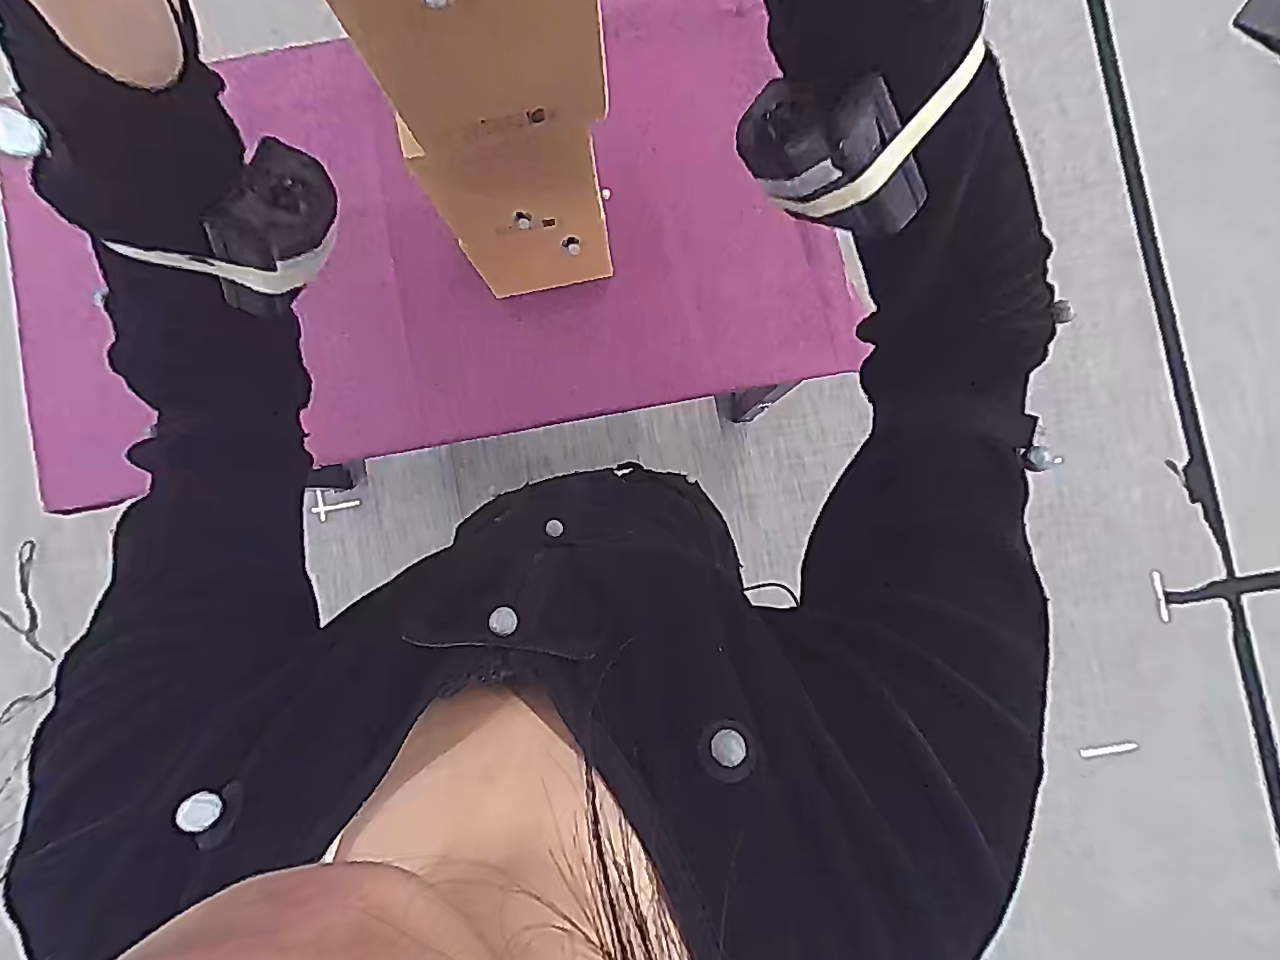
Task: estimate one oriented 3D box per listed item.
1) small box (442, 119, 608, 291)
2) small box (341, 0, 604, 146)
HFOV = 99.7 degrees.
[{"bbox_3d":[-0.140,-0.370,0.712,0.179,0.176,0.168,-11,87,1],"label":"small box"},{"bbox_3d":[-0.124,-0.385,0.385,0.168,0.176,0.179,-11,88,0],"label":"small box"}]
